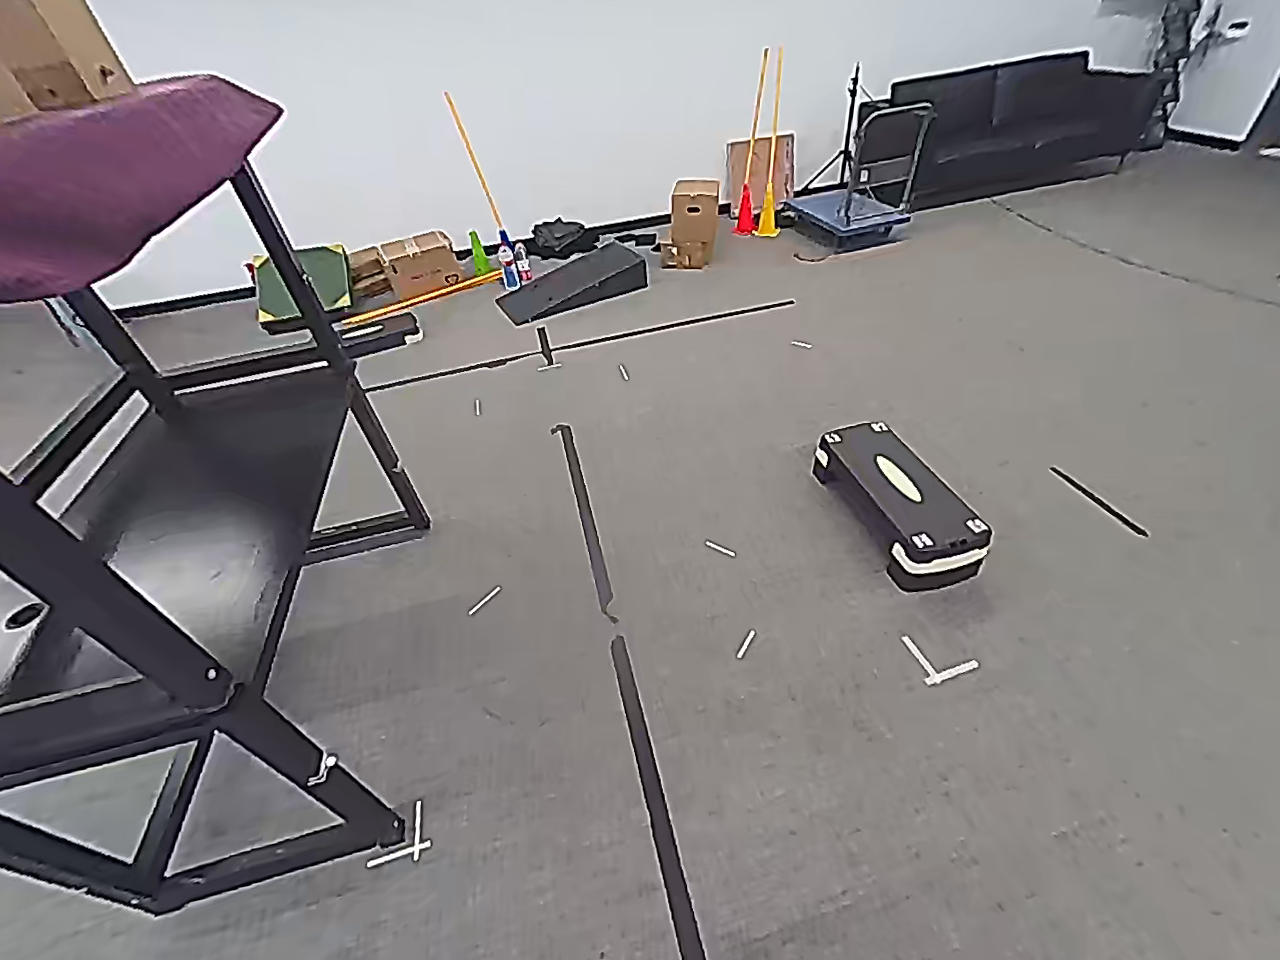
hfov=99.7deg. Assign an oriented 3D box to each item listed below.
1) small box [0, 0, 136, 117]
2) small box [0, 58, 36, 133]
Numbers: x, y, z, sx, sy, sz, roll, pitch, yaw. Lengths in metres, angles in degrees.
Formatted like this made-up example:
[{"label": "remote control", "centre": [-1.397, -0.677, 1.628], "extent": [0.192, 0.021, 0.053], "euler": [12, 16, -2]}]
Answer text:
[{"label": "small box", "centre": [-1.130, -0.806, 1.031], "extent": [0.168, 0.176, 0.179], "euler": [-13, 41, -5]}, {"label": "small box", "centre": [-1.047, -0.580, 0.769], "extent": [0.168, 0.176, 0.179], "euler": [-14, 42, -6]}]
